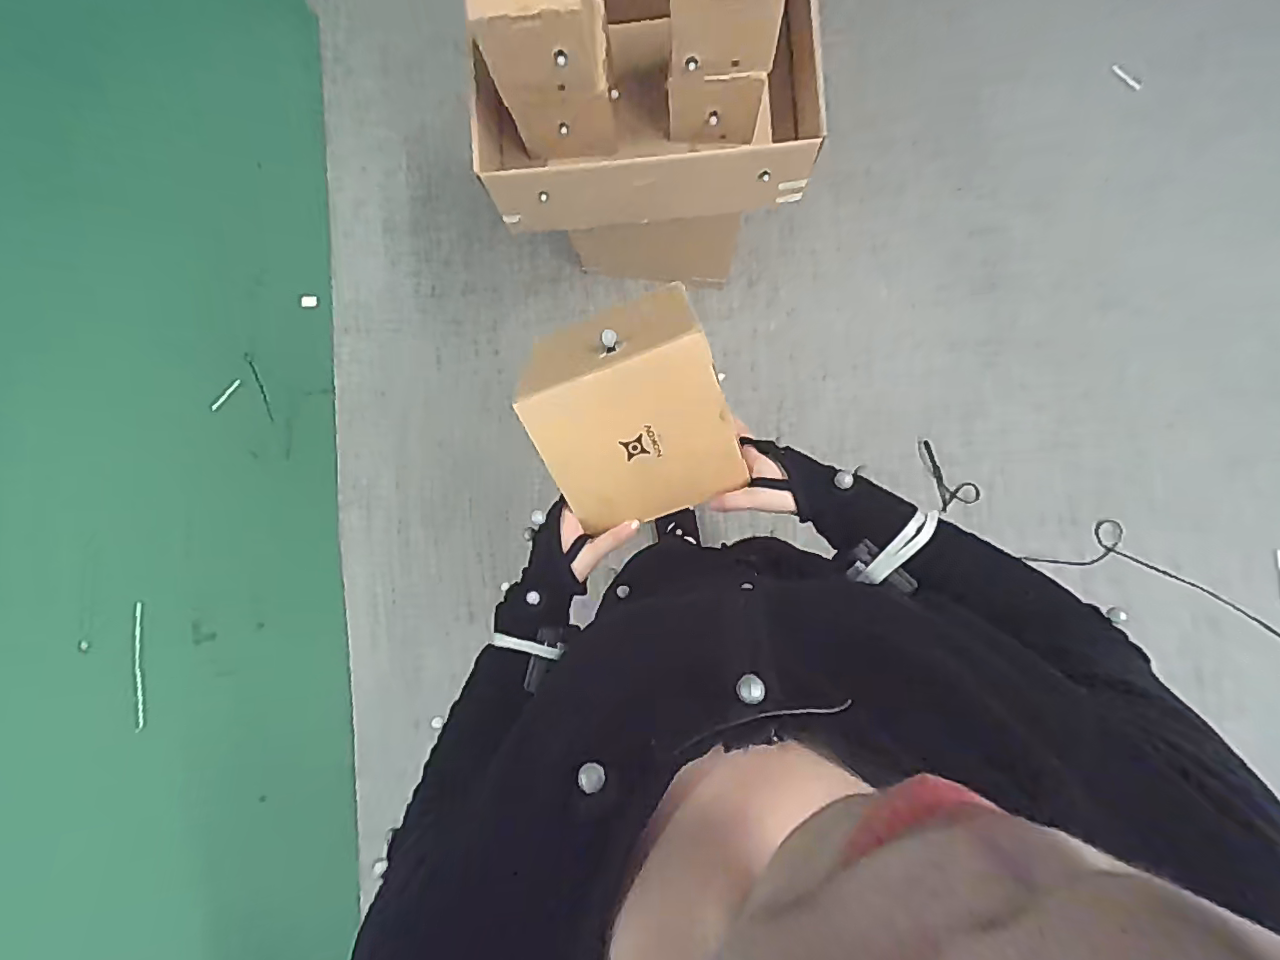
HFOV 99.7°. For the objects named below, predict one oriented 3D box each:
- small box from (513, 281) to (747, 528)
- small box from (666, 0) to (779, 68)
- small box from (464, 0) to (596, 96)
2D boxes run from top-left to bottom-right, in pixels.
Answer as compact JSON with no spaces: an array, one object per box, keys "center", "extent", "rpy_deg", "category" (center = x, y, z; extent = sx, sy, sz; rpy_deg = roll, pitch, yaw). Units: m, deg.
[{"center":[-0.007,-0.083,0.559],"extent":[0.179,0.176,0.168],"rpy_deg":[-19,122,7],"category":"small box"},{"center":[0.123,-0.764,0.819],"extent":[0.168,0.176,0.179],"rpy_deg":[-1,87,4],"category":"small box"},{"center":[-0.163,-0.734,0.839],"extent":[0.168,0.176,0.179],"rpy_deg":[-3,87,4],"category":"small box"}]
